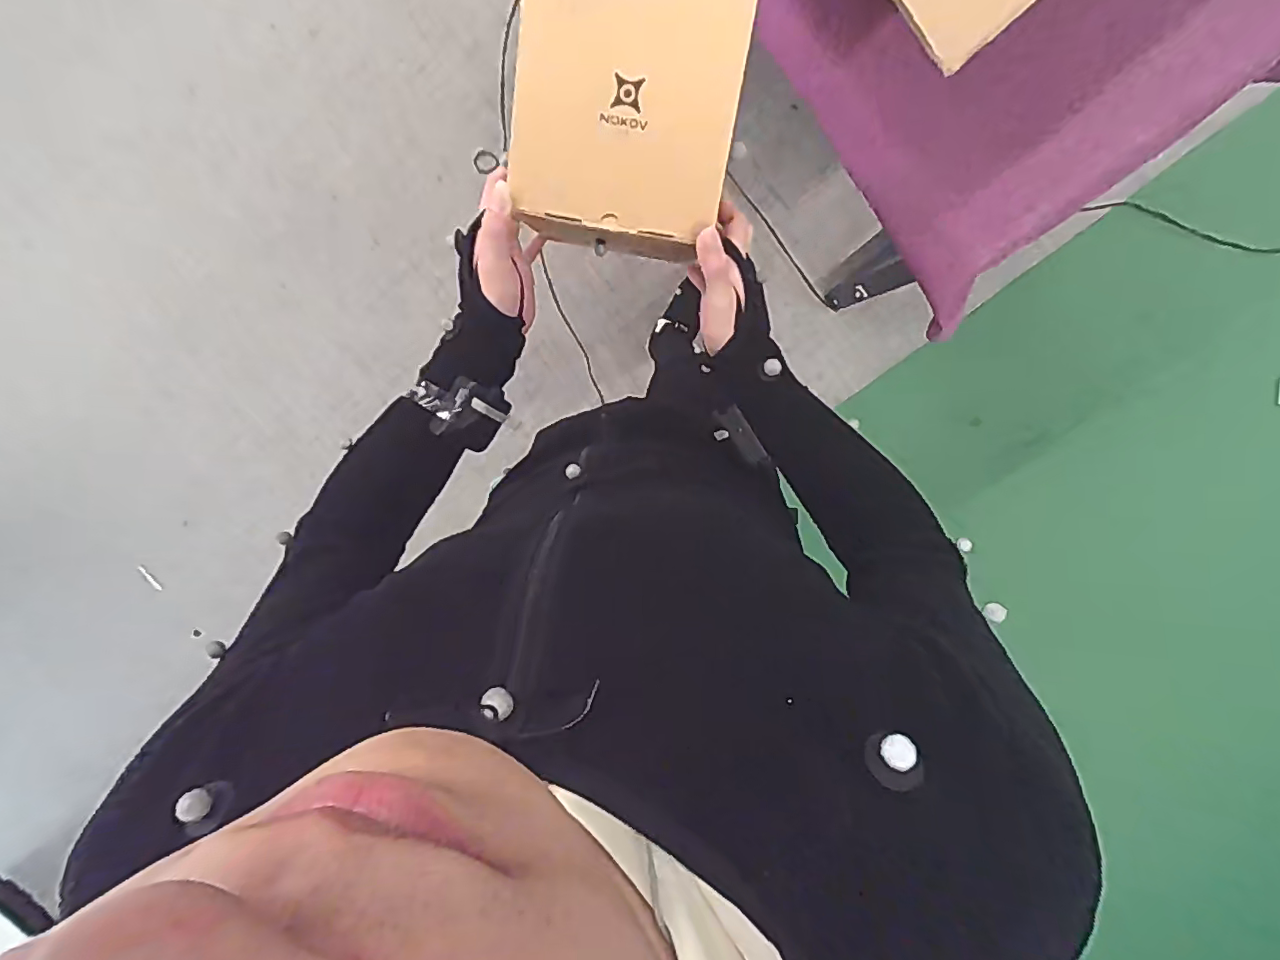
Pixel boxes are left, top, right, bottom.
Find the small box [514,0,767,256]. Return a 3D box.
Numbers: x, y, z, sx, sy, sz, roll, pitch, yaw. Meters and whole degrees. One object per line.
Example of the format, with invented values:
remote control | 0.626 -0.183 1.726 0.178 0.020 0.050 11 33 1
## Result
small box | -0.005 -0.305 0.470 0.168 0.176 0.179 8 109 -3
